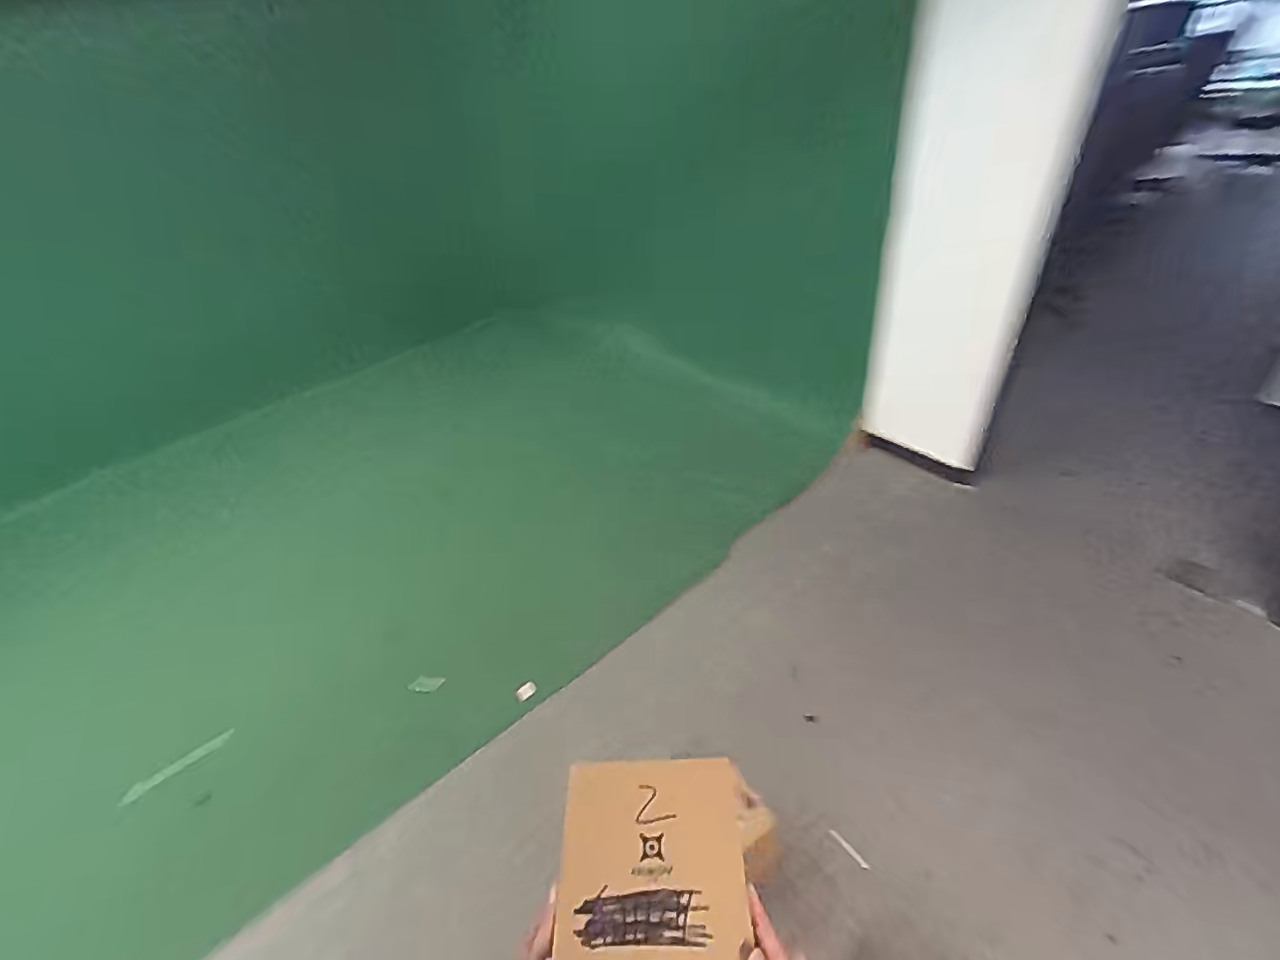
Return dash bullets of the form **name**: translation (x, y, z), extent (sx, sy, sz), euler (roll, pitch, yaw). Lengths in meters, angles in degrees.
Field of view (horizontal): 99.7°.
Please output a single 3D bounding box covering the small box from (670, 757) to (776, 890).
- **small box**: translation (0.194, 0.781, 1.225), extent (0.179, 0.176, 0.168), euler (-29, 44, -18)
